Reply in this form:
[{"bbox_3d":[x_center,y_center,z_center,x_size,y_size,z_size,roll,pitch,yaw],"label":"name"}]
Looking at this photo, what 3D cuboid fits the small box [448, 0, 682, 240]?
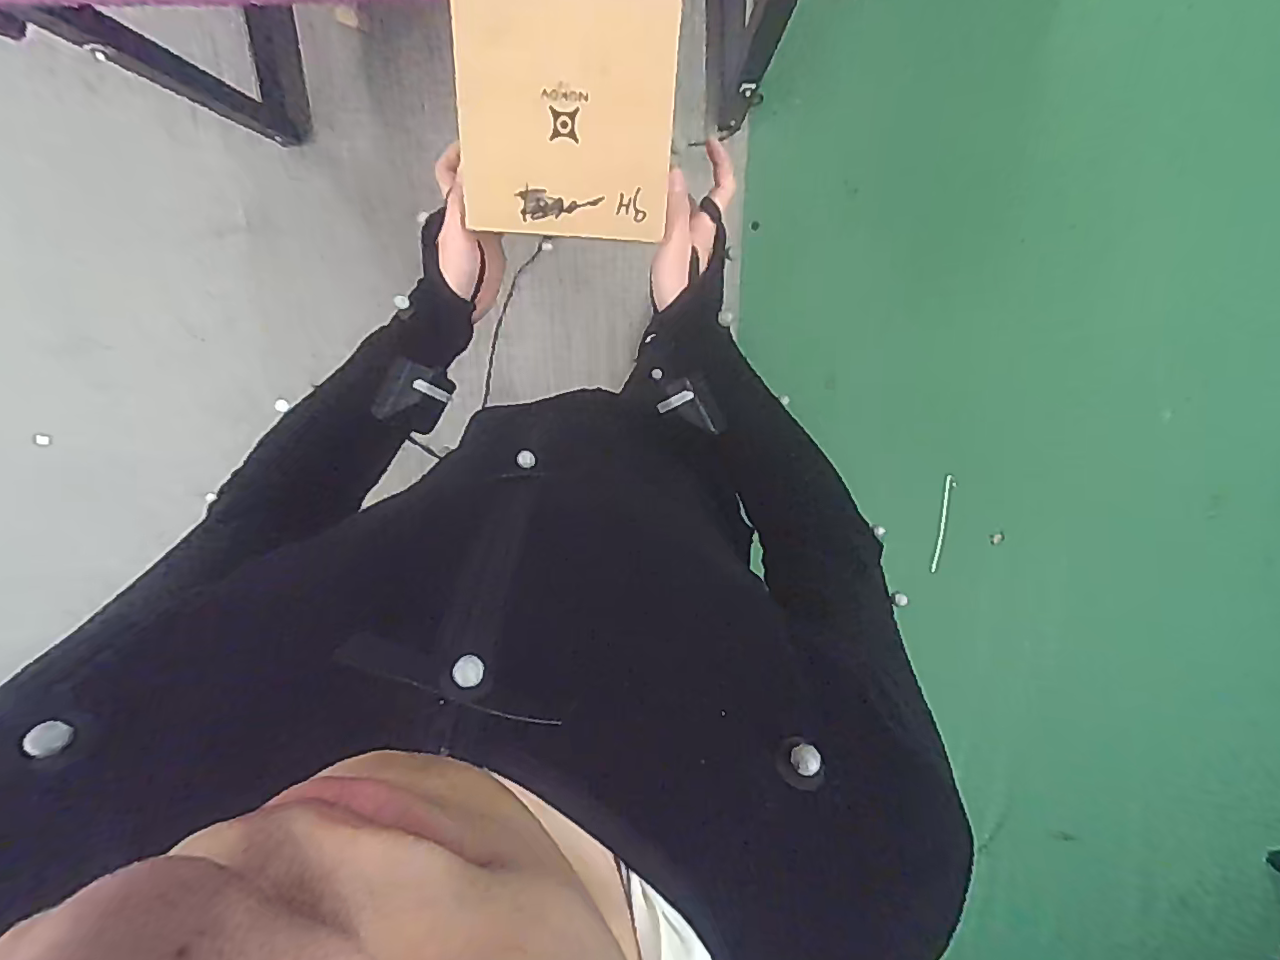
[{"bbox_3d":[-0.056,-0.313,0.472,0.168,0.176,0.179,4,113,0],"label":"small box"}]
